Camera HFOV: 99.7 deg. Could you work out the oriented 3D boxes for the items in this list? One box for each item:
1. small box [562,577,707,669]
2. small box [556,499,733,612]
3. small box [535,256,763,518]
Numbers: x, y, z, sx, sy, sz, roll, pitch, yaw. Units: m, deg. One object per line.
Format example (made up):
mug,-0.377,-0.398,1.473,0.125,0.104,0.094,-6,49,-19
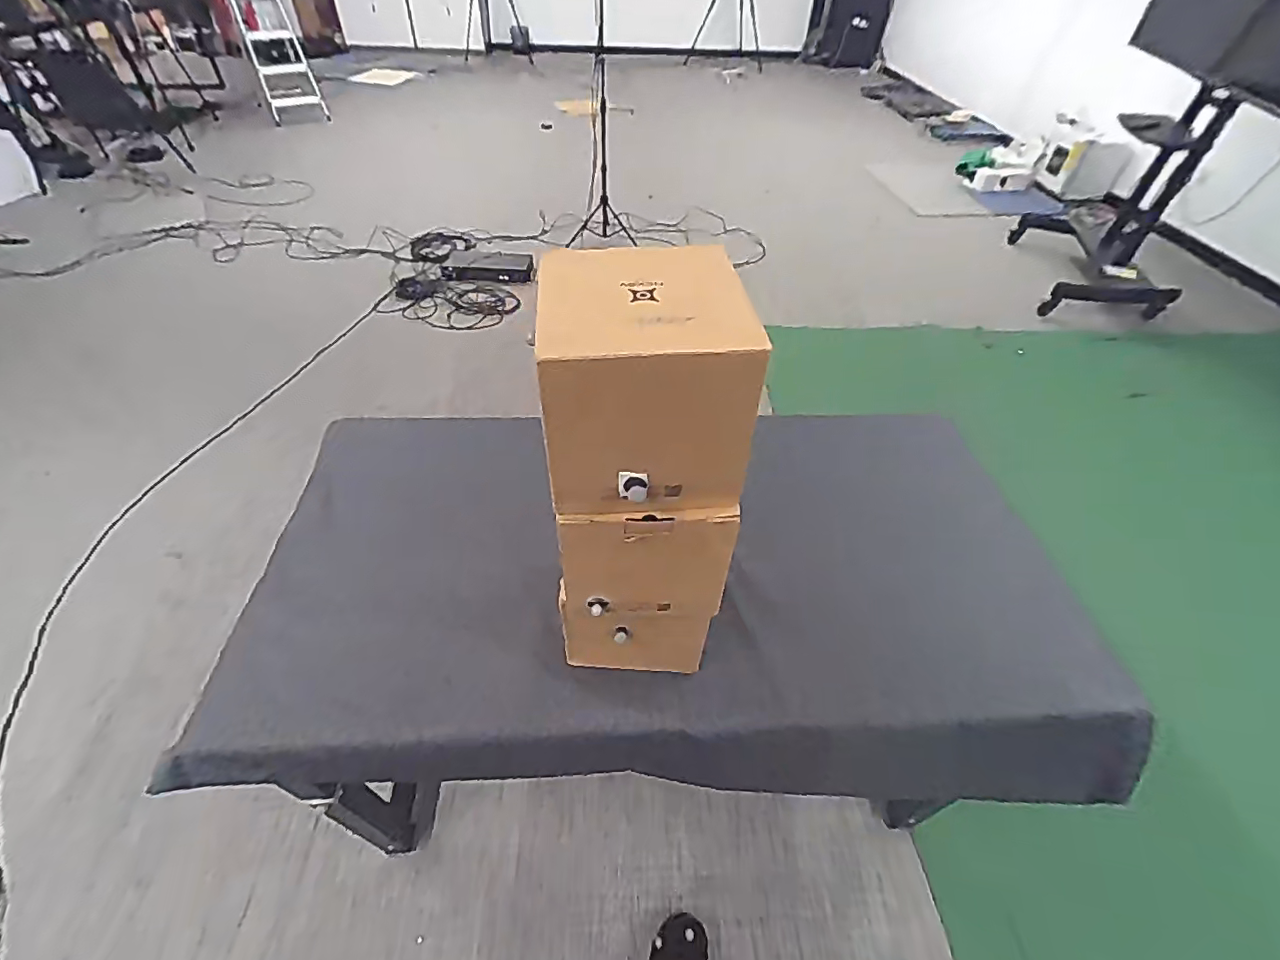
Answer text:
small box,-0.004,0.141,0.732,0.179,0.176,0.168,2,44,-1
small box,-0.002,0.035,0.603,0.168,0.176,0.179,-3,47,-4
small box,-0.001,-0.086,0.495,0.168,0.176,0.179,-4,46,-5
